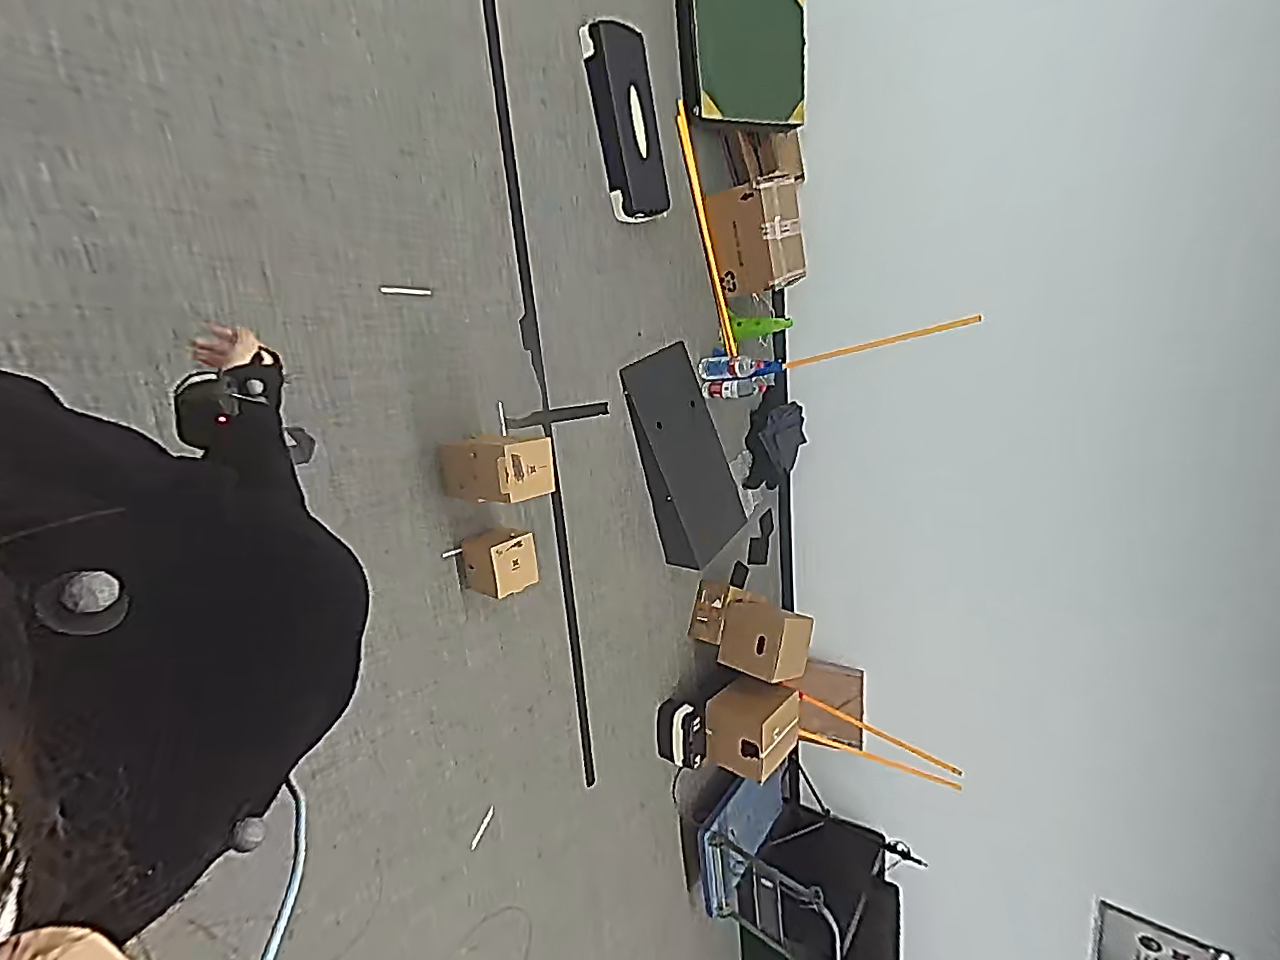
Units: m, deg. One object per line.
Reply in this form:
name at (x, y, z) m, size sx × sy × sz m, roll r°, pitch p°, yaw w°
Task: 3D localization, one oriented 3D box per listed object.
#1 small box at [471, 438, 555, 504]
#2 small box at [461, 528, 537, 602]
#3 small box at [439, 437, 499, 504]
small box at (-0.375, -0.032, 1.576) m, size 0.179 × 0.176 × 0.168 m, roll -17°, pitch 108°, yaw -50°
small box at (-0.461, 0.270, 1.766) m, size 0.168 × 0.176 × 0.179 m, roll -20°, pitch 110°, yaw -49°
small box at (-0.500, -0.036, 1.682) m, size 0.168 × 0.176 × 0.179 m, roll -21°, pitch 110°, yaw -48°
